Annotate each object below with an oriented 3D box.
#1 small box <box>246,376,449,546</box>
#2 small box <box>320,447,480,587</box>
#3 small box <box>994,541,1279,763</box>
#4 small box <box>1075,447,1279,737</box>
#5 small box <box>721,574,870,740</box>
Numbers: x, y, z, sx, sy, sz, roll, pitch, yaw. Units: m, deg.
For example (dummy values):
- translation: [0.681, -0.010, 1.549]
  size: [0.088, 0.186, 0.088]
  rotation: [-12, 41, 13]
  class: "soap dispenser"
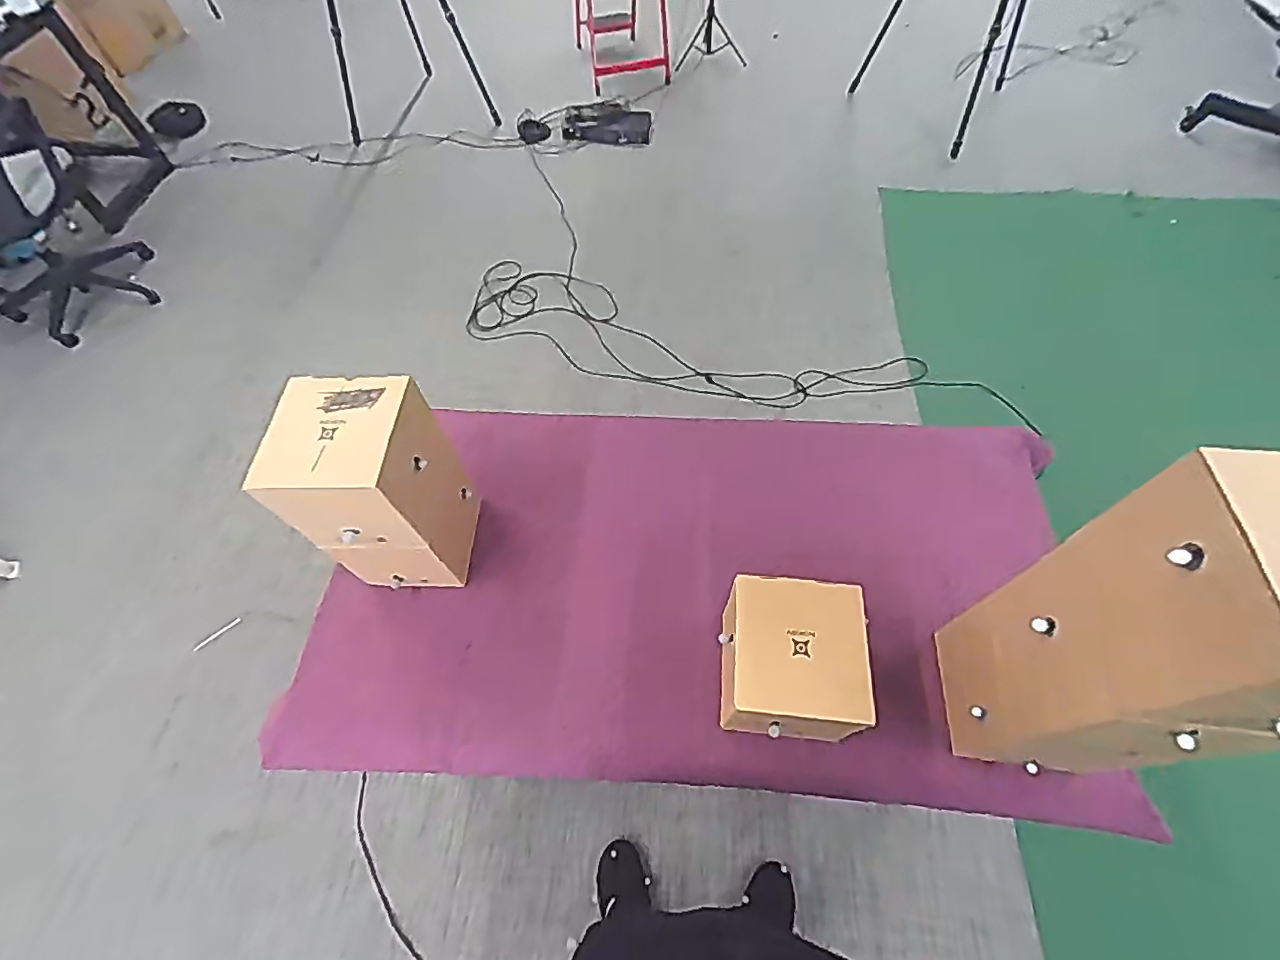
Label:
- translation: [-0.381, -0.023, 0.746]
  size: [0.168, 0.176, 0.179]
  rotation: [0, 60, 3]
  class: "small box"
- translation: [-0.375, 0.062, 0.886]
  size: [0.168, 0.176, 0.179]
  rotation: [0, 60, 3]
  class: "small box"
- translation: [0.512, 0.186, 0.575]
  size: [0.168, 0.176, 0.179]
  rotation: [5, 58, 7]
  class: "small box"
- translation: [0.504, 0.096, 0.437]
  size: [0.168, 0.176, 0.179]
  rotation: [4, 59, 7]
  class: "small box"
- translation: [0.203, 0.249, 0.747]
  size: [0.168, 0.176, 0.179]
  rotation: [4, 58, 6]
  class: "small box"
